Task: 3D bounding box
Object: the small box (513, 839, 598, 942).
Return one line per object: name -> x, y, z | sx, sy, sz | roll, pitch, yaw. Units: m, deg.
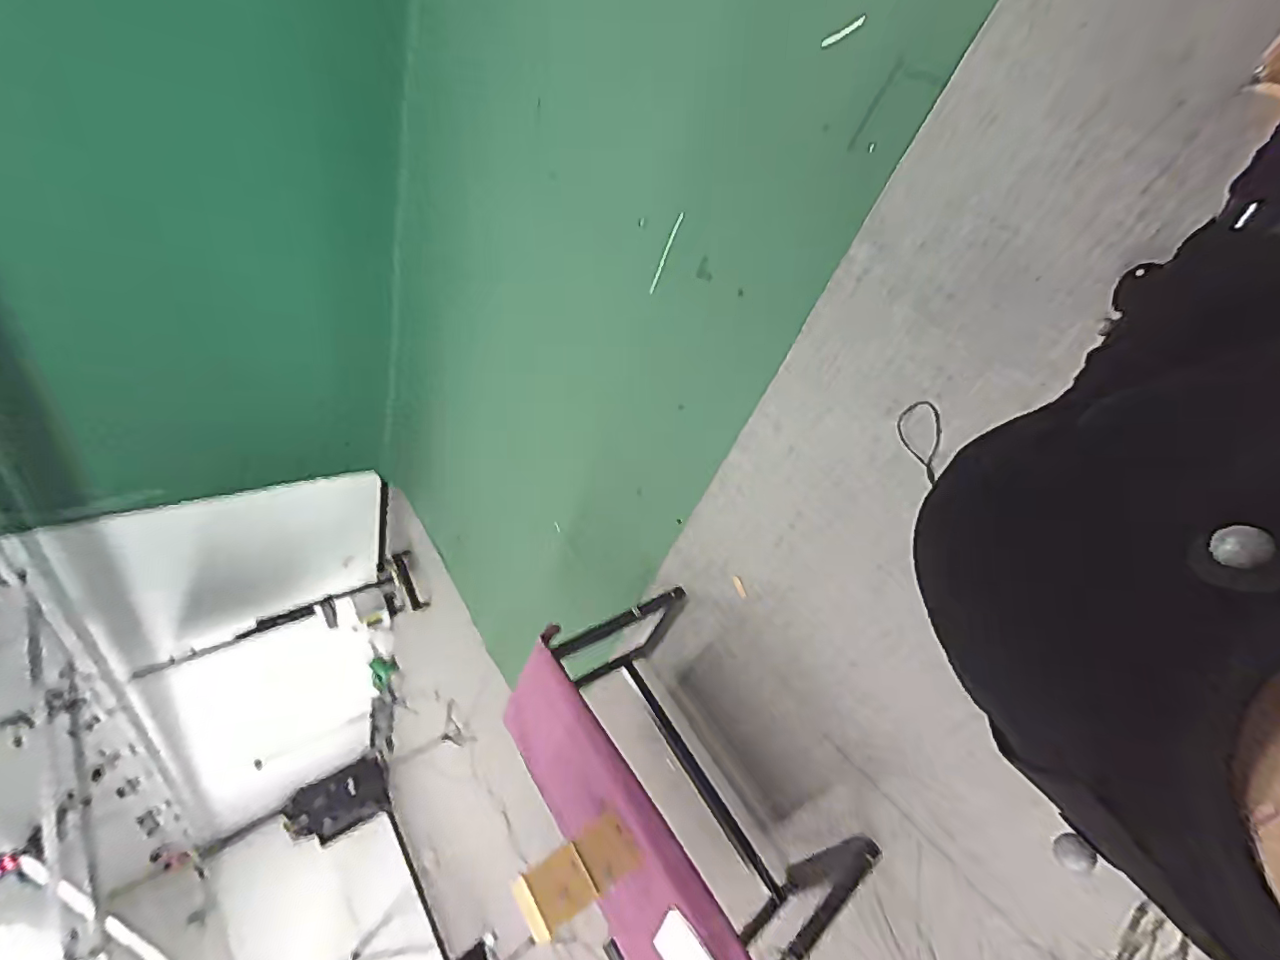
small box -> -0.244, 1.185, 1.571 | 0.168, 0.176, 0.179 | 51, 137, 25
